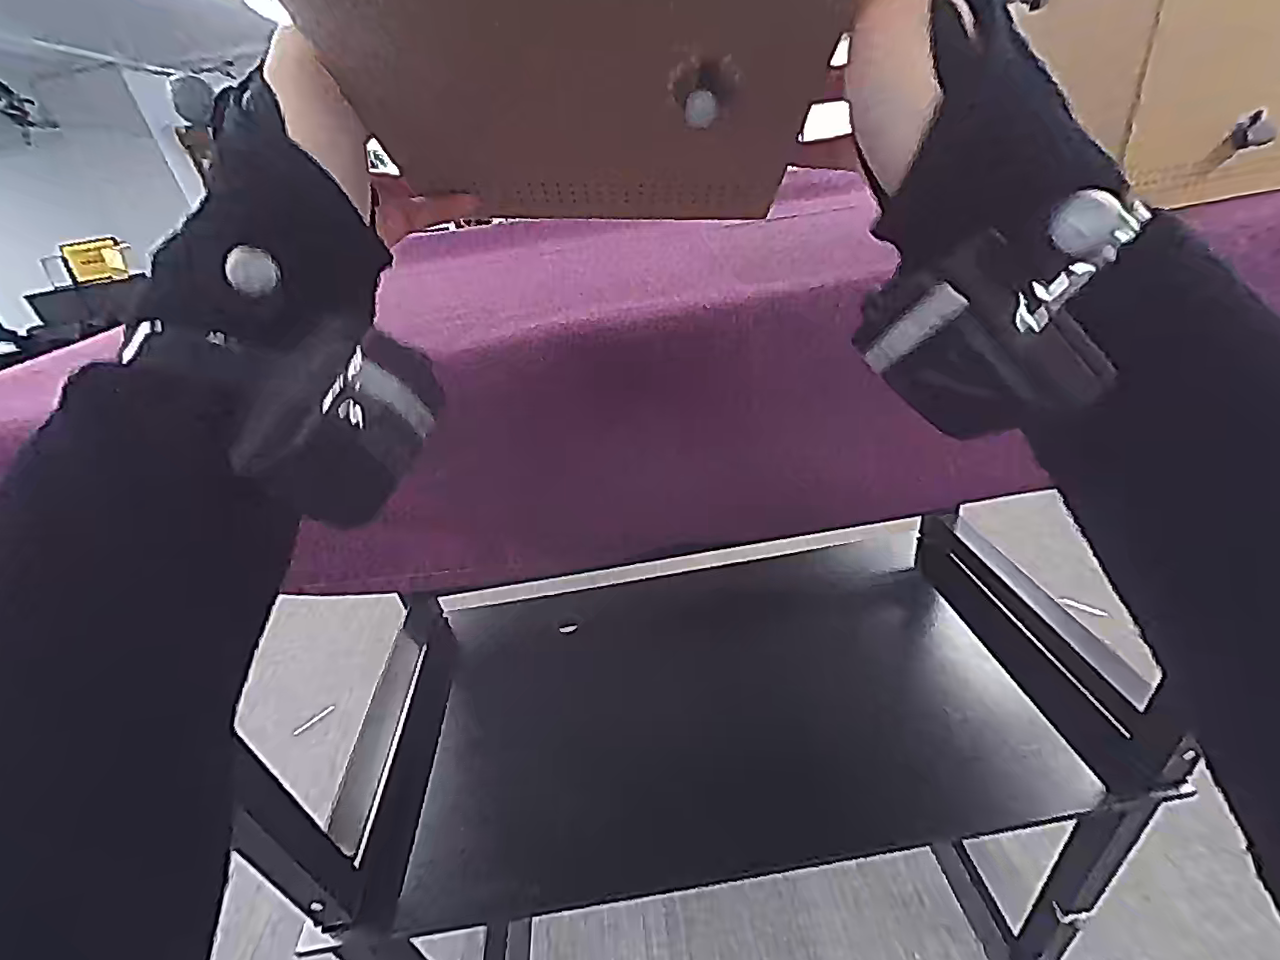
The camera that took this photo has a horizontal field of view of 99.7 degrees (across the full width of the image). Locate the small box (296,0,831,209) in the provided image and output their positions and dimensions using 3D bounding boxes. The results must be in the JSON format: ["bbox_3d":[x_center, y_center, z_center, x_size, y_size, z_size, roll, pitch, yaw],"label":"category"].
[{"bbox_3d":[-0.021,-0.226,0.204,0.179,0.168,0.176,0,-6,1],"label":"small box"}]

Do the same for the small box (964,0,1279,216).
[{"bbox_3d":[0.377,-0.305,0.397,0.179,0.176,0.168,-11,30,-2],"label":"small box"}]
